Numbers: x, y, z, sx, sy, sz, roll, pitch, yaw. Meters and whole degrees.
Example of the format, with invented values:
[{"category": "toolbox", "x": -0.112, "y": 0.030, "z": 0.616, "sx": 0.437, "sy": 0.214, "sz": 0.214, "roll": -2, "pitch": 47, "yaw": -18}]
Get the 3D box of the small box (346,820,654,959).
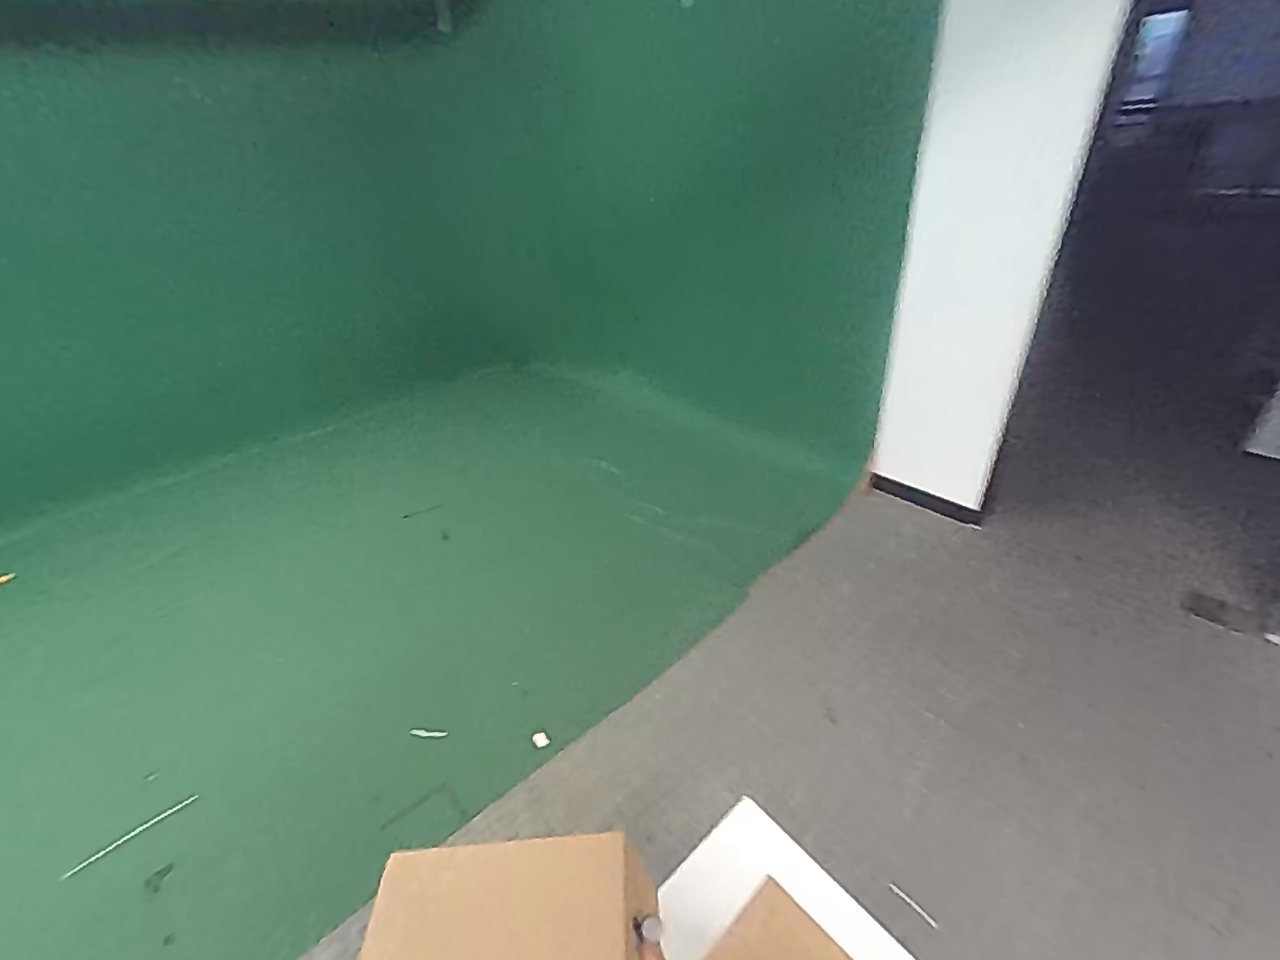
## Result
[{"category": "small box", "x": -0.080, "y": 0.350, "z": 0.343, "sx": 0.168, "sy": 0.176, "sz": 0.179, "roll": -9, "pitch": 39, "yaw": 3}]
